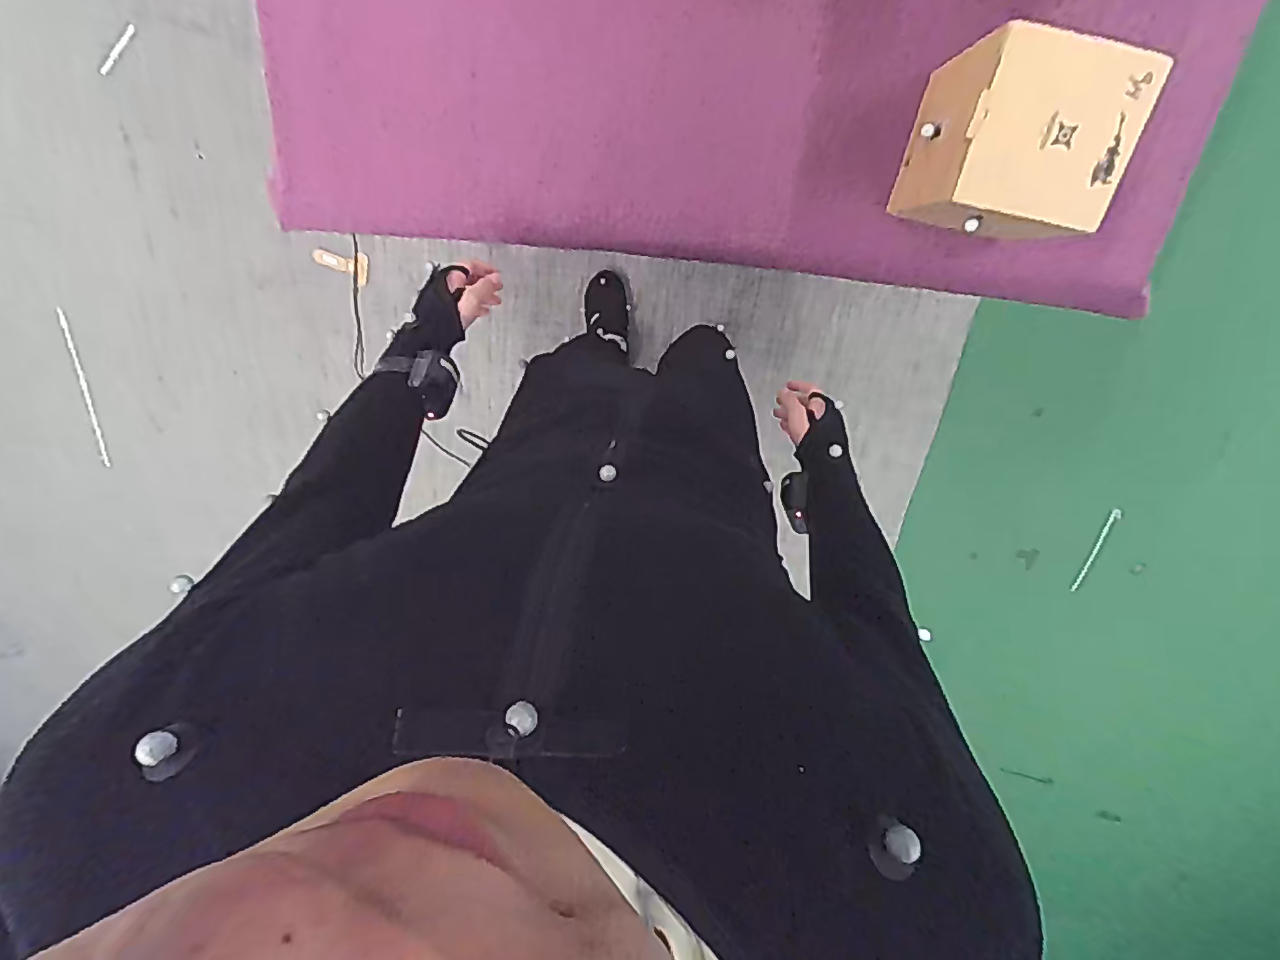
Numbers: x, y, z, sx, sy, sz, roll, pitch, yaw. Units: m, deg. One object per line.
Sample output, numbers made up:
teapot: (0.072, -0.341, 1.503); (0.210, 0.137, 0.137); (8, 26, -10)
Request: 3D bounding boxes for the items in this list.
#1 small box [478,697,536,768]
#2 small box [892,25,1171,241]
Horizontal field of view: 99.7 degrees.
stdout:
small box: (-0.479, 0.916, 1.970); (0.179, 0.176, 0.168); (6, 113, -1)
small box: (0.433, -0.386, 0.637); (0.179, 0.176, 0.168); (11, 111, -3)
